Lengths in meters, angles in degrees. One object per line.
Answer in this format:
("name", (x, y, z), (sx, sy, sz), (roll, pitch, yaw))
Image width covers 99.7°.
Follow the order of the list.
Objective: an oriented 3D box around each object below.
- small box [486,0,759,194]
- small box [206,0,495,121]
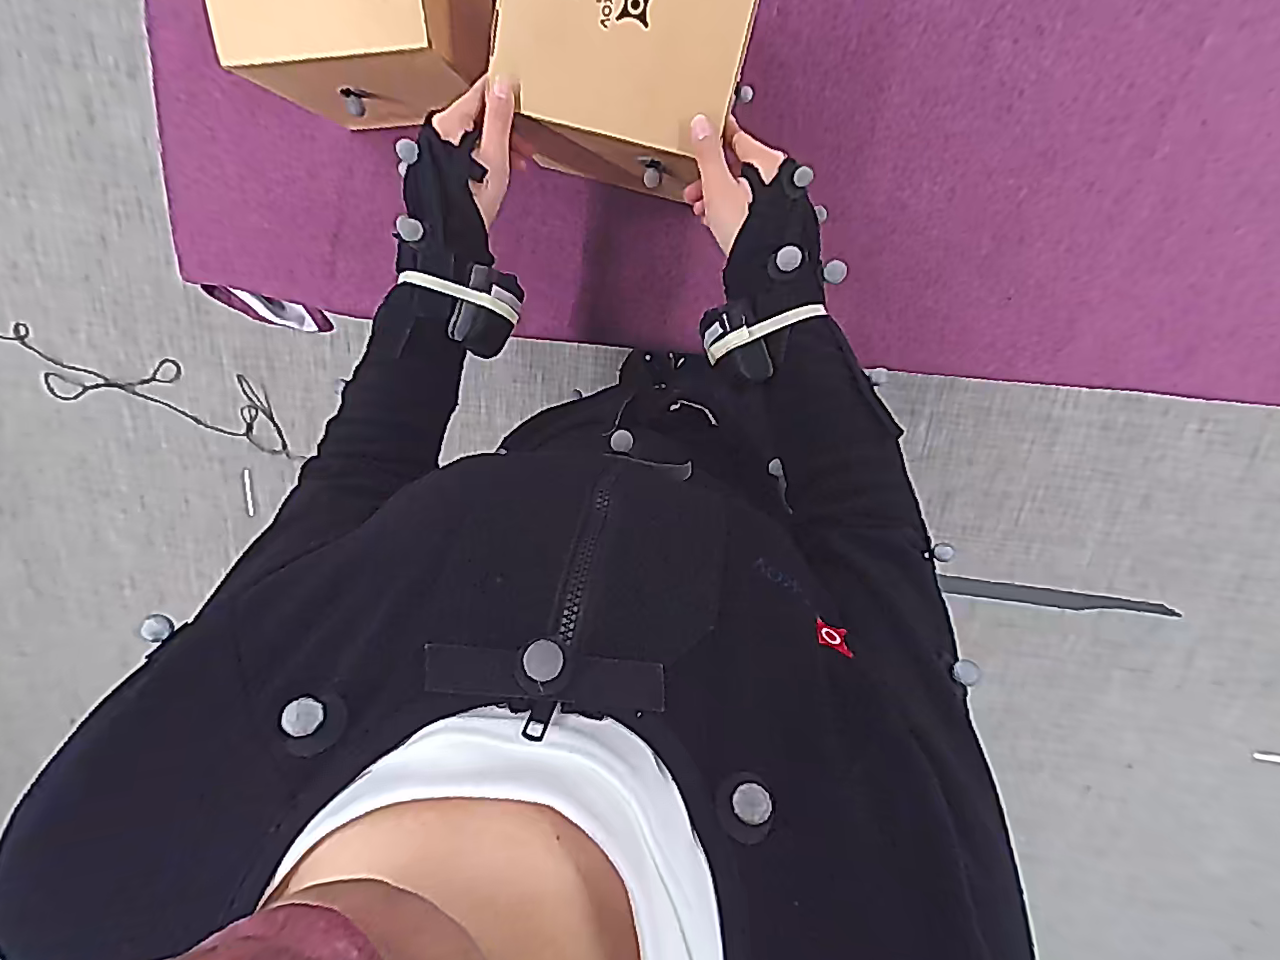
("small box", (-0.003, -0.353, 0.444), (0.179, 0.176, 0.168), (14, 107, 1))
("small box", (-0.228, -0.420, 0.447), (0.168, 0.176, 0.179), (-1, 107, 6))
